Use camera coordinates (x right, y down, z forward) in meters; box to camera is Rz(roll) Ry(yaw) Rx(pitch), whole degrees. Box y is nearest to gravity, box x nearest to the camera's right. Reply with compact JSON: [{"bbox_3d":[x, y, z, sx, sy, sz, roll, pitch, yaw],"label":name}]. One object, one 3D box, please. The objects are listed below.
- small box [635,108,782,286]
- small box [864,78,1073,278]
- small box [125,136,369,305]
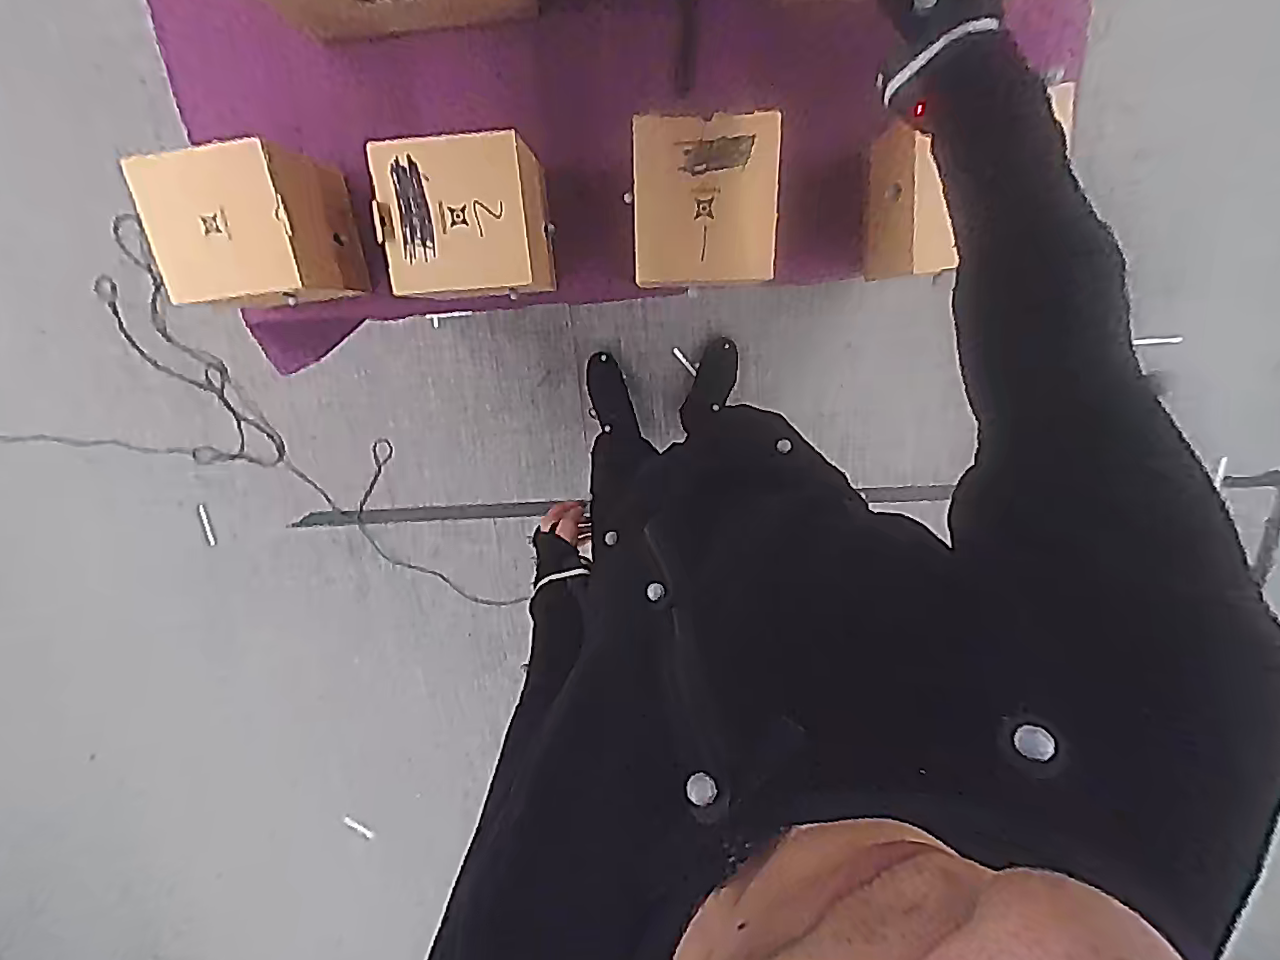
[{"bbox_3d":[0.078,-0.346,0.693,0.168,0.176,0.179,0,108,3],"label":"small box"},{"bbox_3d":[0.390,-0.358,0.676,0.168,0.176,0.179,-6,107,5],"label":"small box"},{"bbox_3d":[-0.502,-0.330,0.721,0.179,0.176,0.168,-7,107,3],"label":"small box"}]
